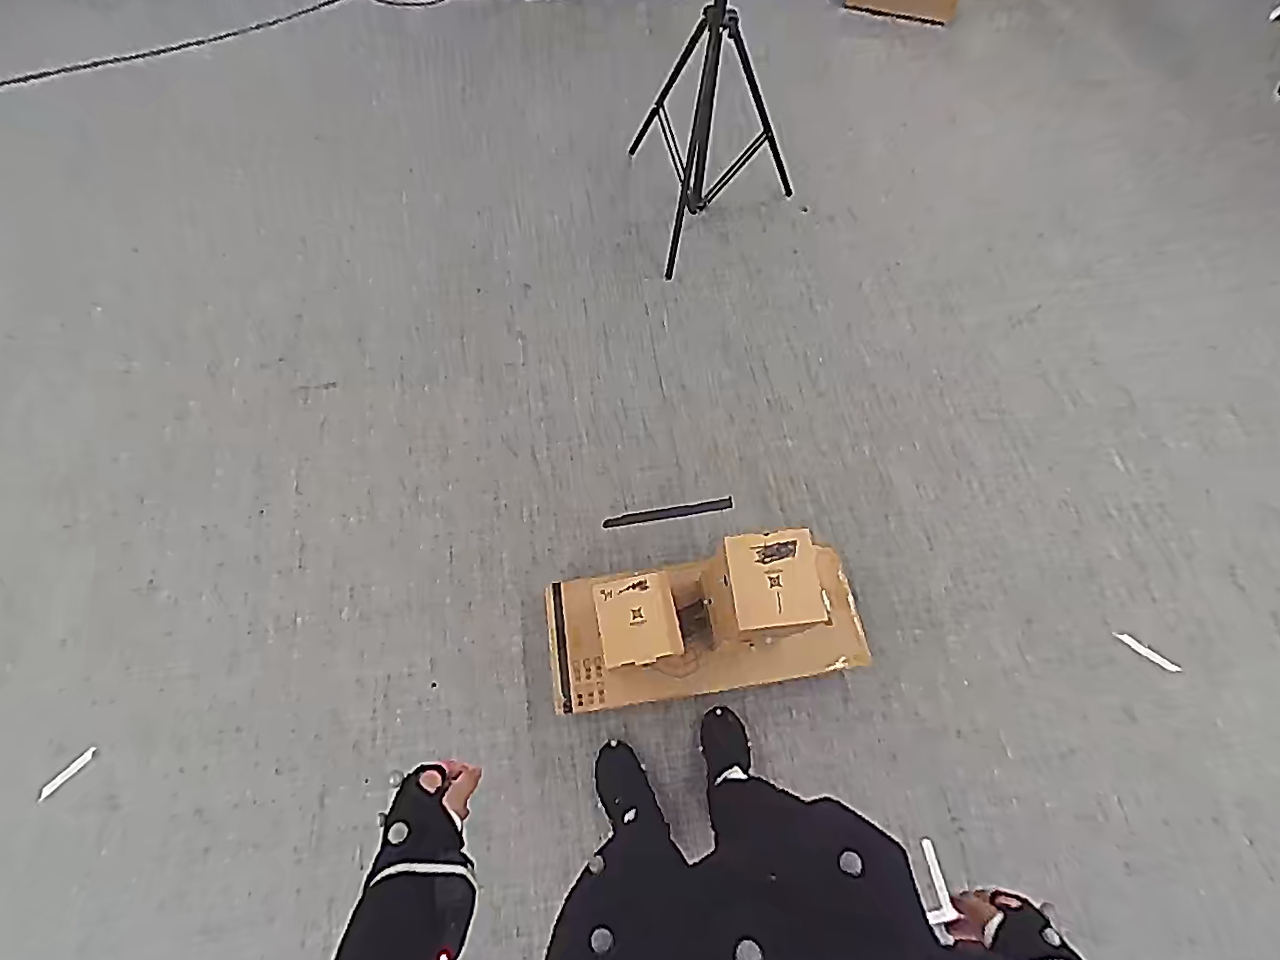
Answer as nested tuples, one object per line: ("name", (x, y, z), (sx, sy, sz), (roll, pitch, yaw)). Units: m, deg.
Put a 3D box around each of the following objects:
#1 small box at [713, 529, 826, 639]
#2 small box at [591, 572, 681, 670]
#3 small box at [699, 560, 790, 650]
("small box", (0.244, 0.210, 1.068), (0.168, 0.176, 0.179), (-5, 68, -2))
("small box", (-0.009, 0.318, 1.199), (0.168, 0.176, 0.179), (-10, 69, -5))
("small box", (0.235, 0.276, 1.219), (0.168, 0.176, 0.179), (-9, 68, -4))
